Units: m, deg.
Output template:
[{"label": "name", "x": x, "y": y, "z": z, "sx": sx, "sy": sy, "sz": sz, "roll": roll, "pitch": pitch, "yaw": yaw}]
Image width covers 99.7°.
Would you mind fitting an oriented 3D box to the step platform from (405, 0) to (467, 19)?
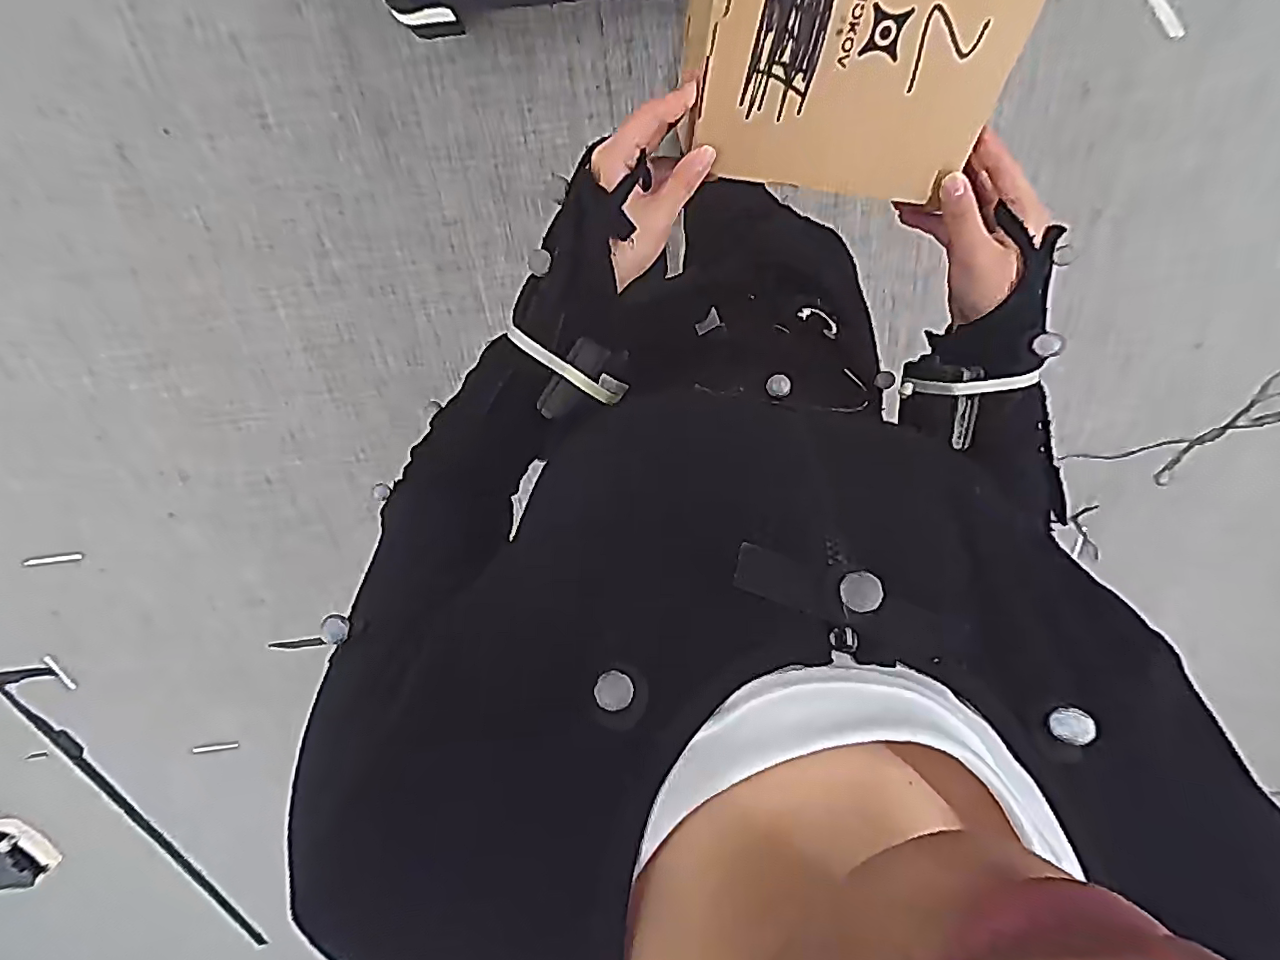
[{"label": "step platform", "x": -0.089, "y": -0.950, "z": 0.831, "sx": 0.684, "sy": 0.204, "sz": 0.286, "roll": -8, "pitch": 118, "yaw": 0}]
